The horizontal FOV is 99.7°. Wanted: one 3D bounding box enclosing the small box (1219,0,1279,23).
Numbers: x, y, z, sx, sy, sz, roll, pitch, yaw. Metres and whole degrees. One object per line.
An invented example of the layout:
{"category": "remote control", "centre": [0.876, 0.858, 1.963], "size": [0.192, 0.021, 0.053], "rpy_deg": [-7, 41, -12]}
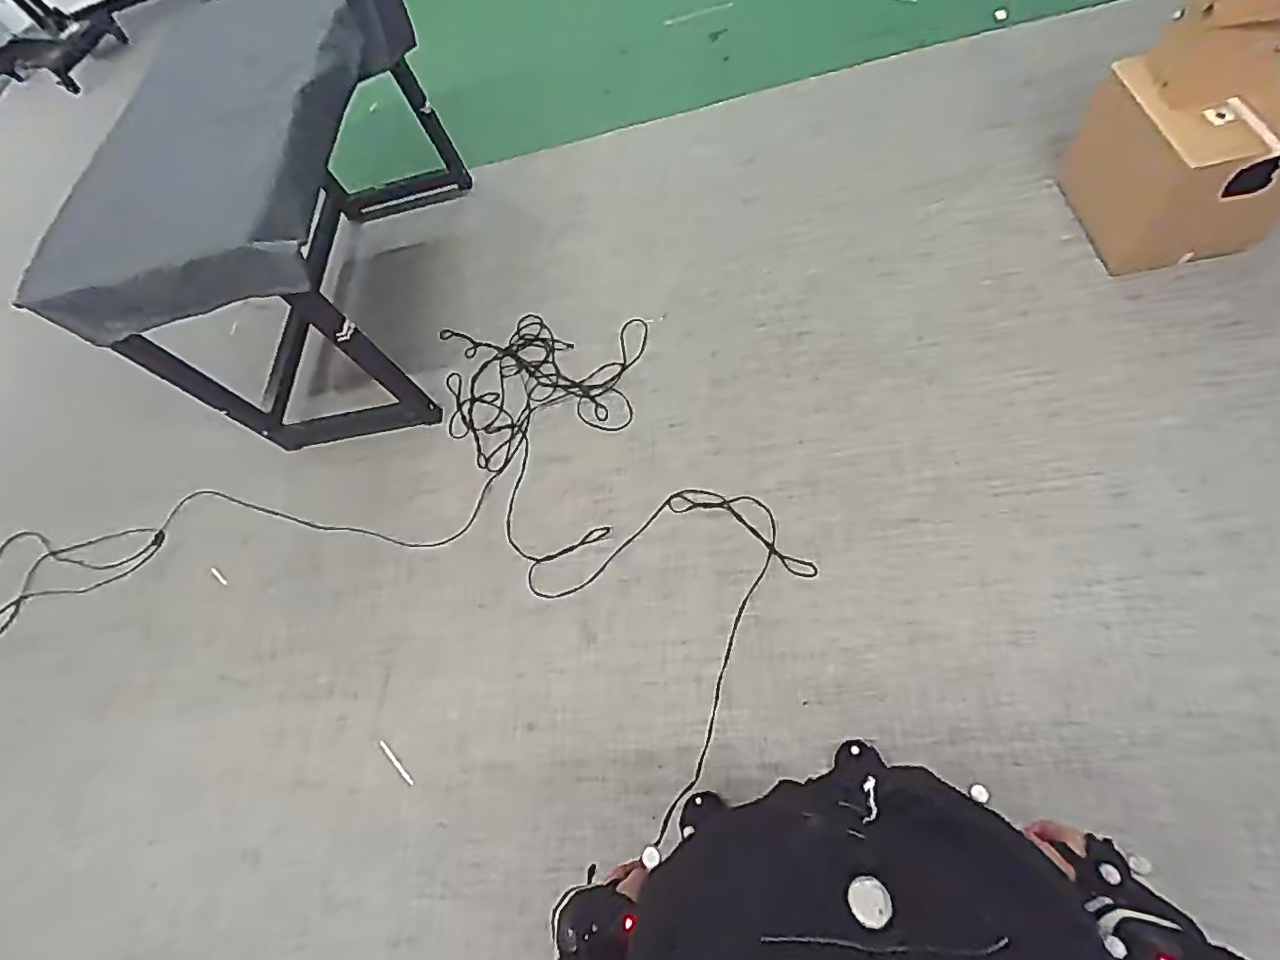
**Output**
{"category": "small box", "centre": [1.236, -0.994, 0.997], "size": [0.179, 0.176, 0.168], "rpy_deg": [4, 68, 16]}

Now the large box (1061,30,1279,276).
{"category": "large box", "centre": [1.349, -0.788, 1.333], "size": [0.320, 0.320, 0.408], "rpy_deg": [-9, 65, 11]}
